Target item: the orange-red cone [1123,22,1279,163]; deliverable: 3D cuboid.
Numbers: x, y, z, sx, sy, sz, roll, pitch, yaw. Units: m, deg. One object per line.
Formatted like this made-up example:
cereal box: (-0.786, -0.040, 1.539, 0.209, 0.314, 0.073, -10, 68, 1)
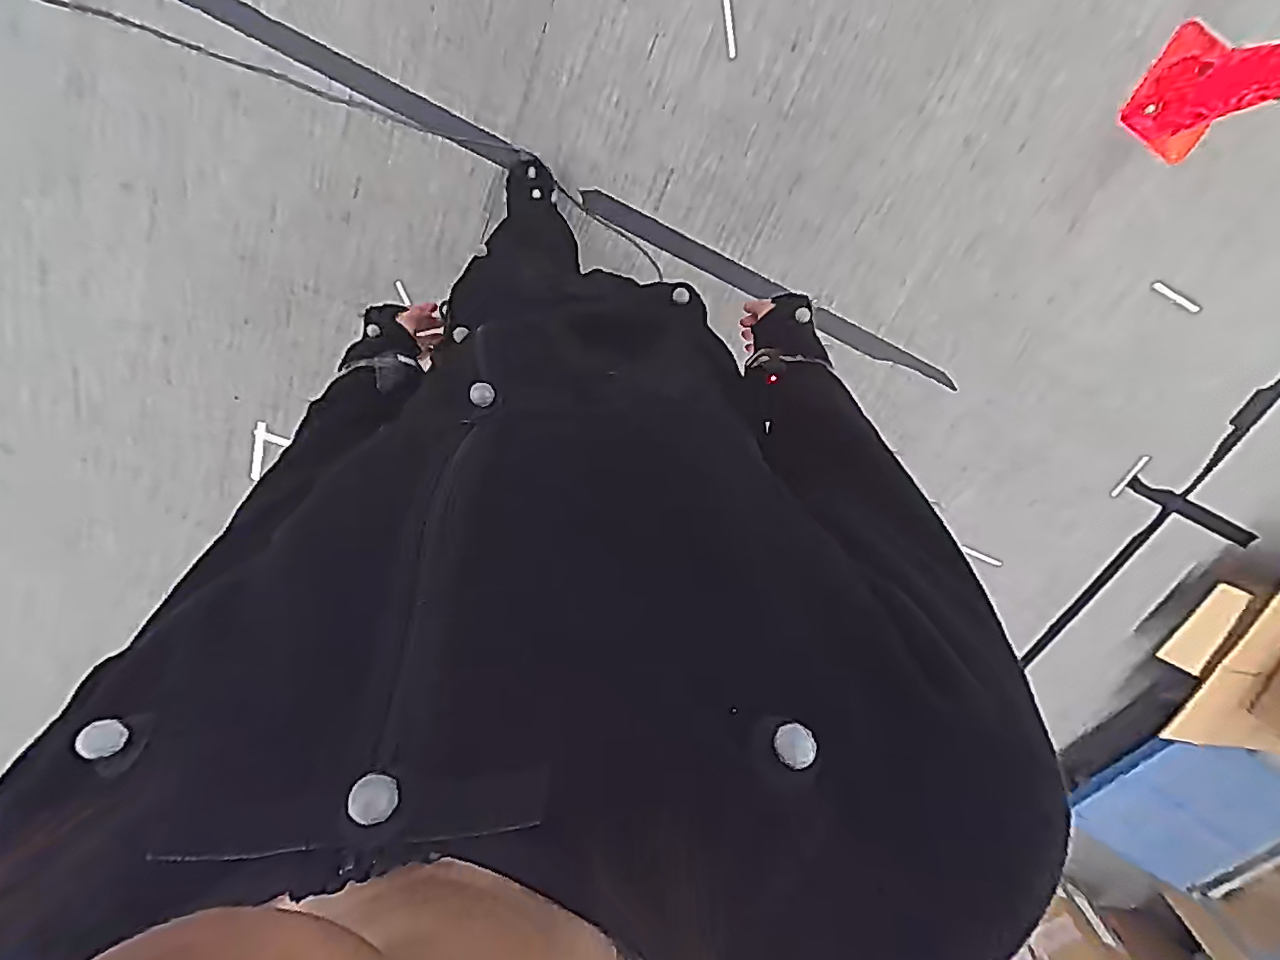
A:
orange-red cone: (1.156, -0.737, 0.983, 0.199, 0.360, 0.198, 25, 112, -14)
